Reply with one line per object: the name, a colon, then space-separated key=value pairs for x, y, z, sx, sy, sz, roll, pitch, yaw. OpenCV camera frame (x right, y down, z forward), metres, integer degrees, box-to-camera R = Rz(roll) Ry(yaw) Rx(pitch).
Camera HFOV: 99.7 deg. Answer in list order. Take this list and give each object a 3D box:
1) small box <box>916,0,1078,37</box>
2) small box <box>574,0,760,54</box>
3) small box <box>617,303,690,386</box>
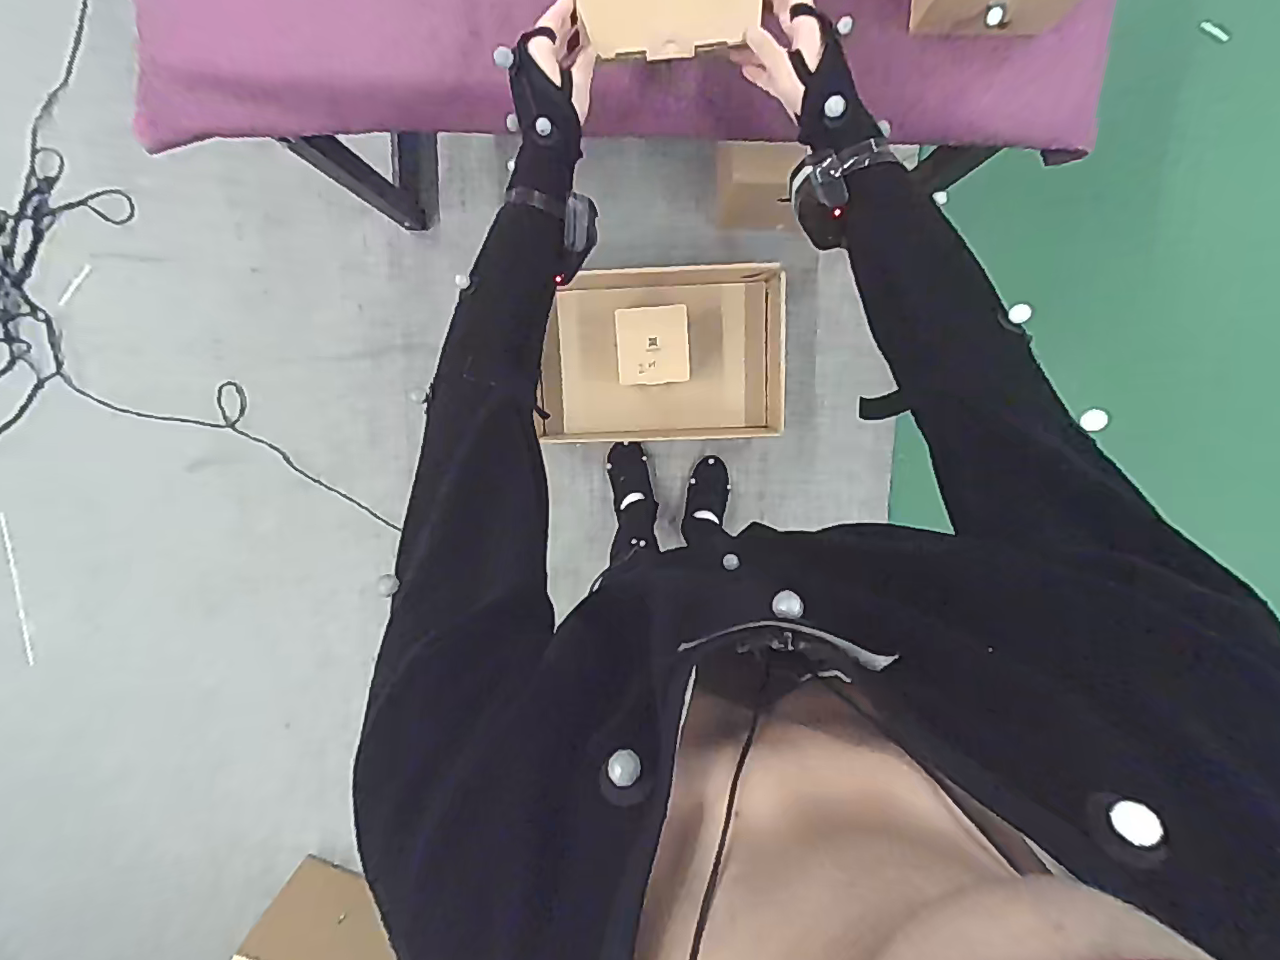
small box: x=0.415 y=-0.621 z=0.570 sx=0.168 sy=0.176 sz=0.179 roll=2 pitch=98 yaw=1
small box: x=0.020 y=-0.514 z=0.504 sx=0.168 sy=0.176 sz=0.179 roll=-4 pitch=126 yaw=2
small box: x=0.032 y=-0.320 z=1.307 sx=0.168 sy=0.176 sz=0.179 roll=-3 pitch=100 yaw=2
